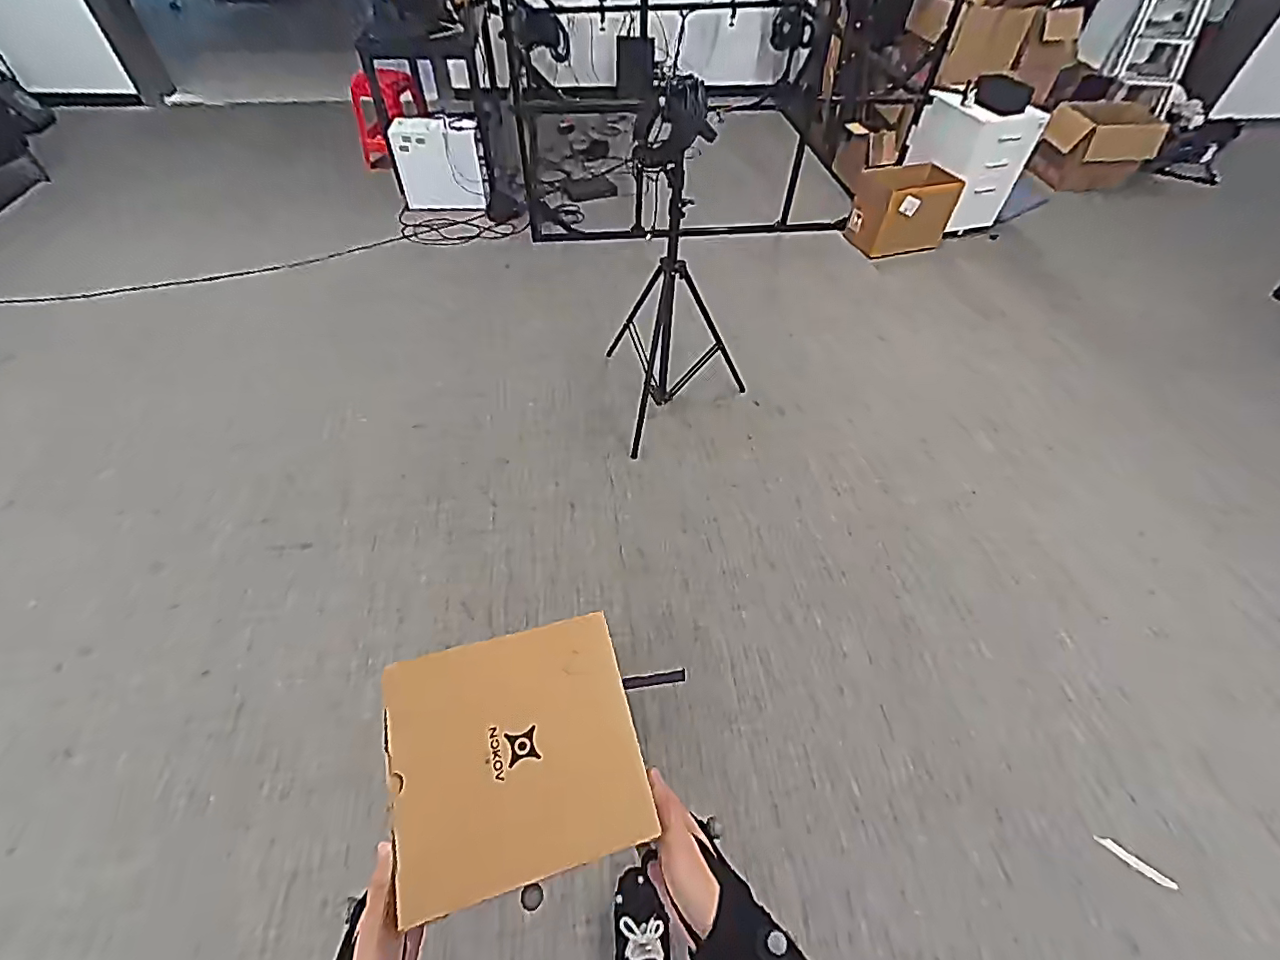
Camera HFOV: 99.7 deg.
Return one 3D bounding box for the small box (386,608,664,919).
[{"bbox_3d":[-0.097,0.228,0.462,0.179,0.176,0.168,-12,62,-14],"label":"small box"}]
